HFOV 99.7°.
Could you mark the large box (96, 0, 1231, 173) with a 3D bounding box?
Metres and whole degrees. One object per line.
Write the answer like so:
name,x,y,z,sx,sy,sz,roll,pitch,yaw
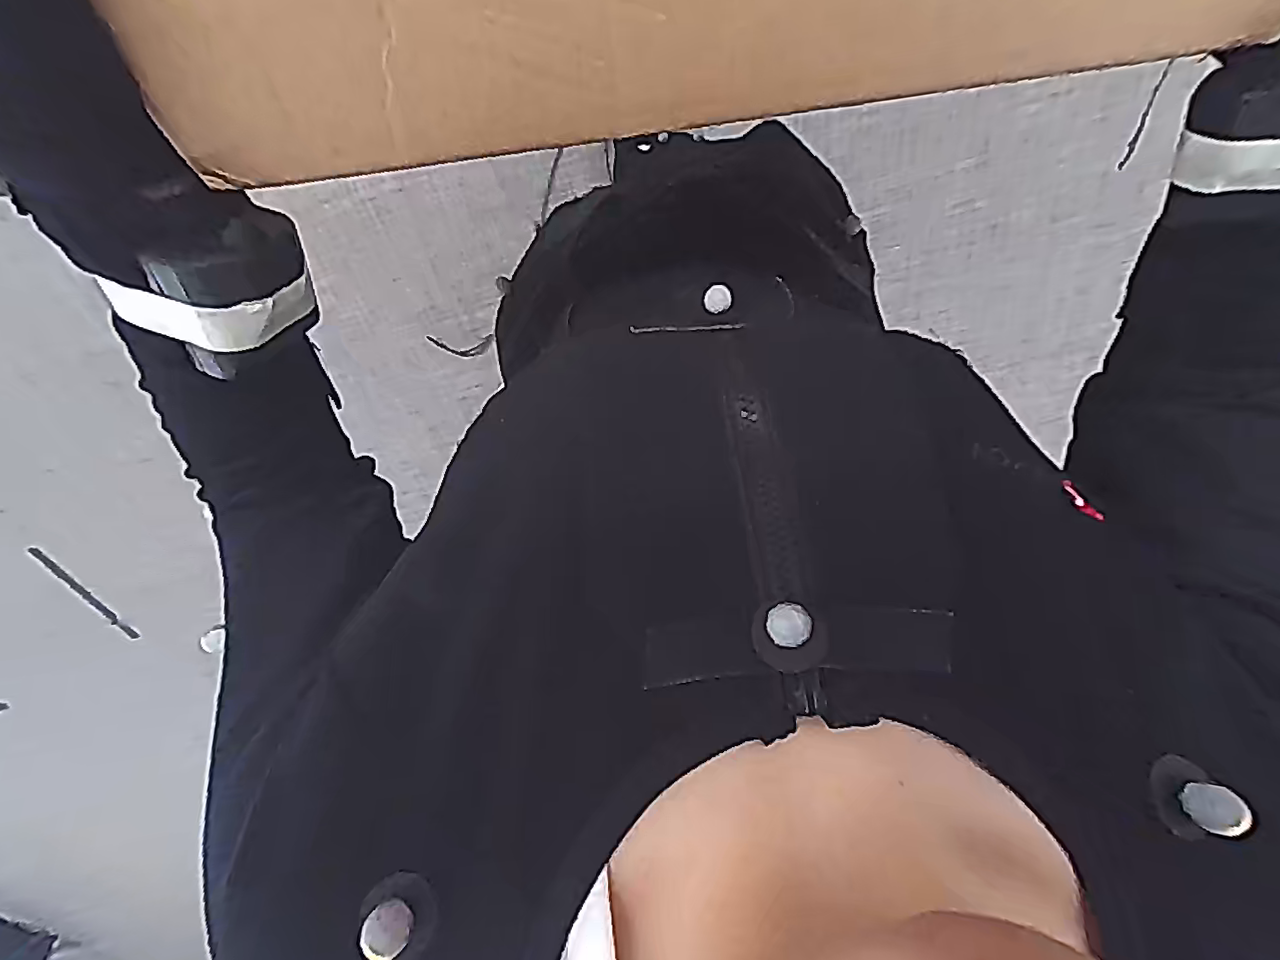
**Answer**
large box,0.001,-0.357,0.171,0.408,0.320,0.320,-6,145,2
